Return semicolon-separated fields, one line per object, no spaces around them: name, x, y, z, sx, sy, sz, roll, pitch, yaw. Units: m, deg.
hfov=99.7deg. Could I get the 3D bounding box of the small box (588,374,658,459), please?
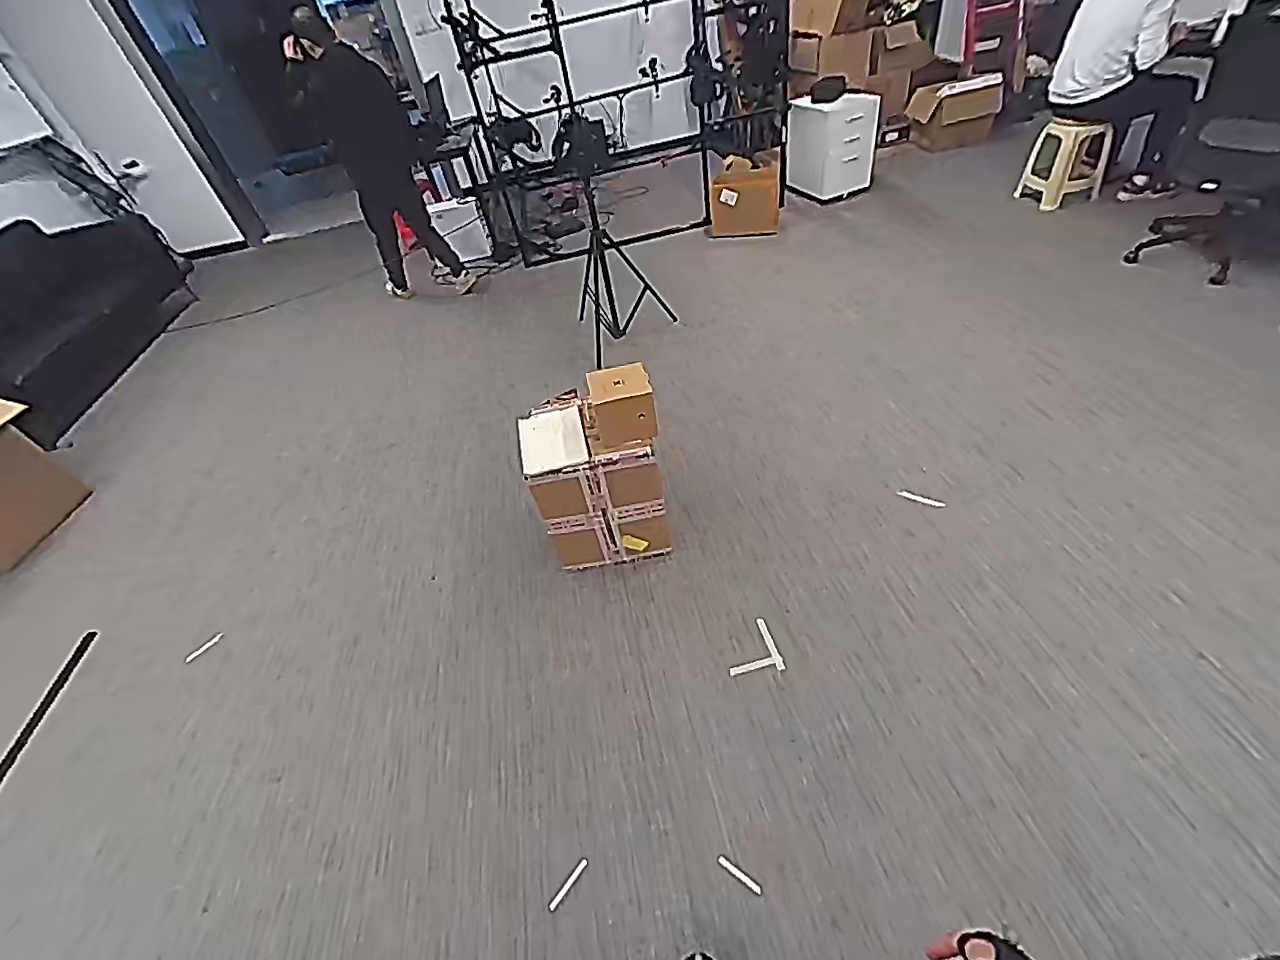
small box;-0.046;-0.188;1.620;0.179;0.176;0.168;-14;44;-3
